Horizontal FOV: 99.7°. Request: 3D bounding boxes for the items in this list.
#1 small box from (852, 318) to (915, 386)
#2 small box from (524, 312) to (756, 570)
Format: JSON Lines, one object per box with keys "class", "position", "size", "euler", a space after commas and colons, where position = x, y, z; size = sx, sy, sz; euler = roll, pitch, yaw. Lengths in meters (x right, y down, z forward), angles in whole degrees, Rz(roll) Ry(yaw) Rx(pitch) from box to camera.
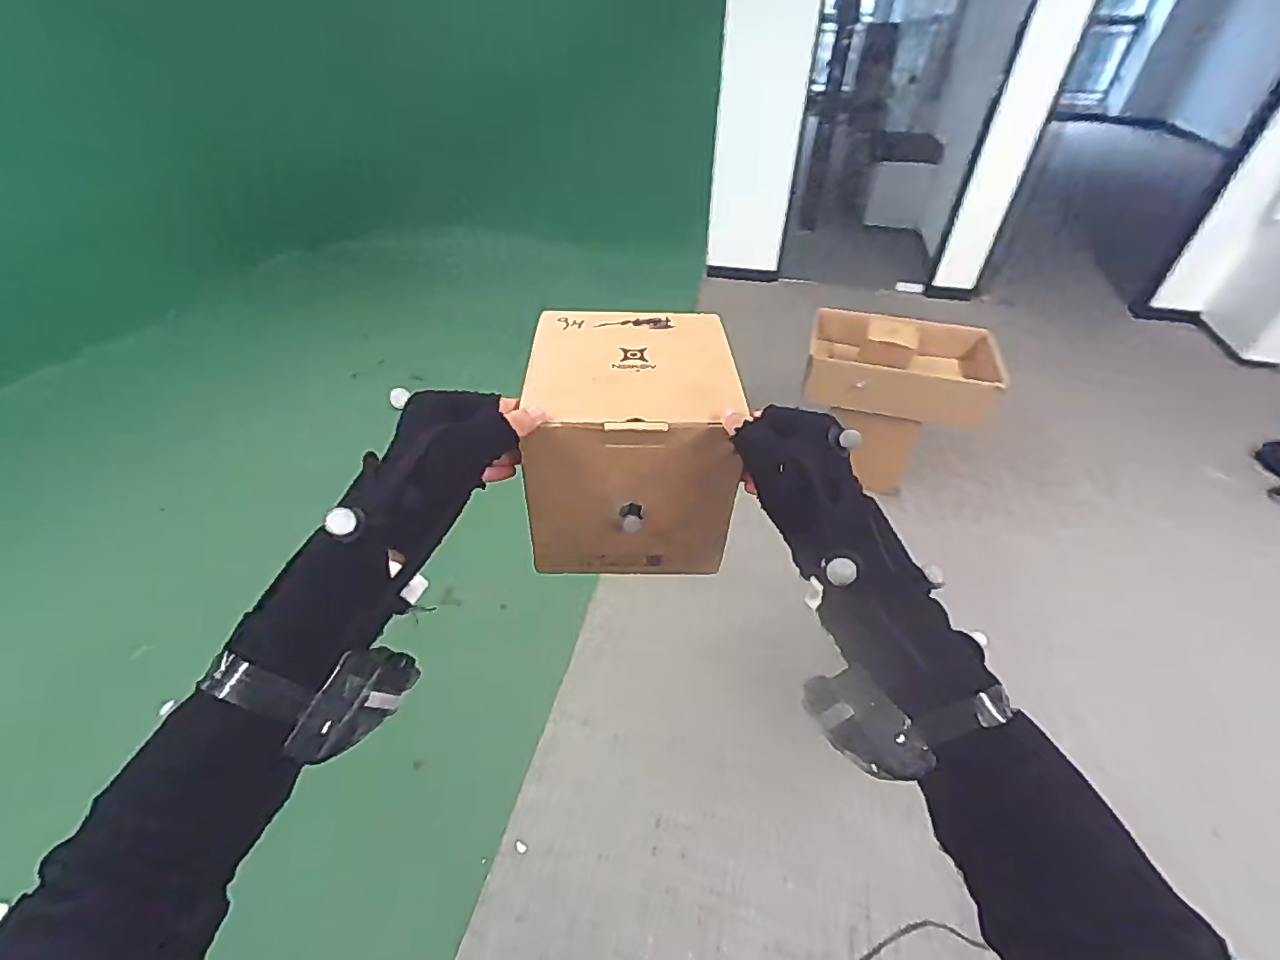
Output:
{"class": "small box", "position": [0.878, -0.461, 1.957], "size": [0.168, 0.176, 0.179], "euler": [15, 43, 12]}
{"class": "small box", "position": [-0.002, -0.034, 0.488], "size": [0.168, 0.176, 0.179], "euler": [1, 43, -2]}
